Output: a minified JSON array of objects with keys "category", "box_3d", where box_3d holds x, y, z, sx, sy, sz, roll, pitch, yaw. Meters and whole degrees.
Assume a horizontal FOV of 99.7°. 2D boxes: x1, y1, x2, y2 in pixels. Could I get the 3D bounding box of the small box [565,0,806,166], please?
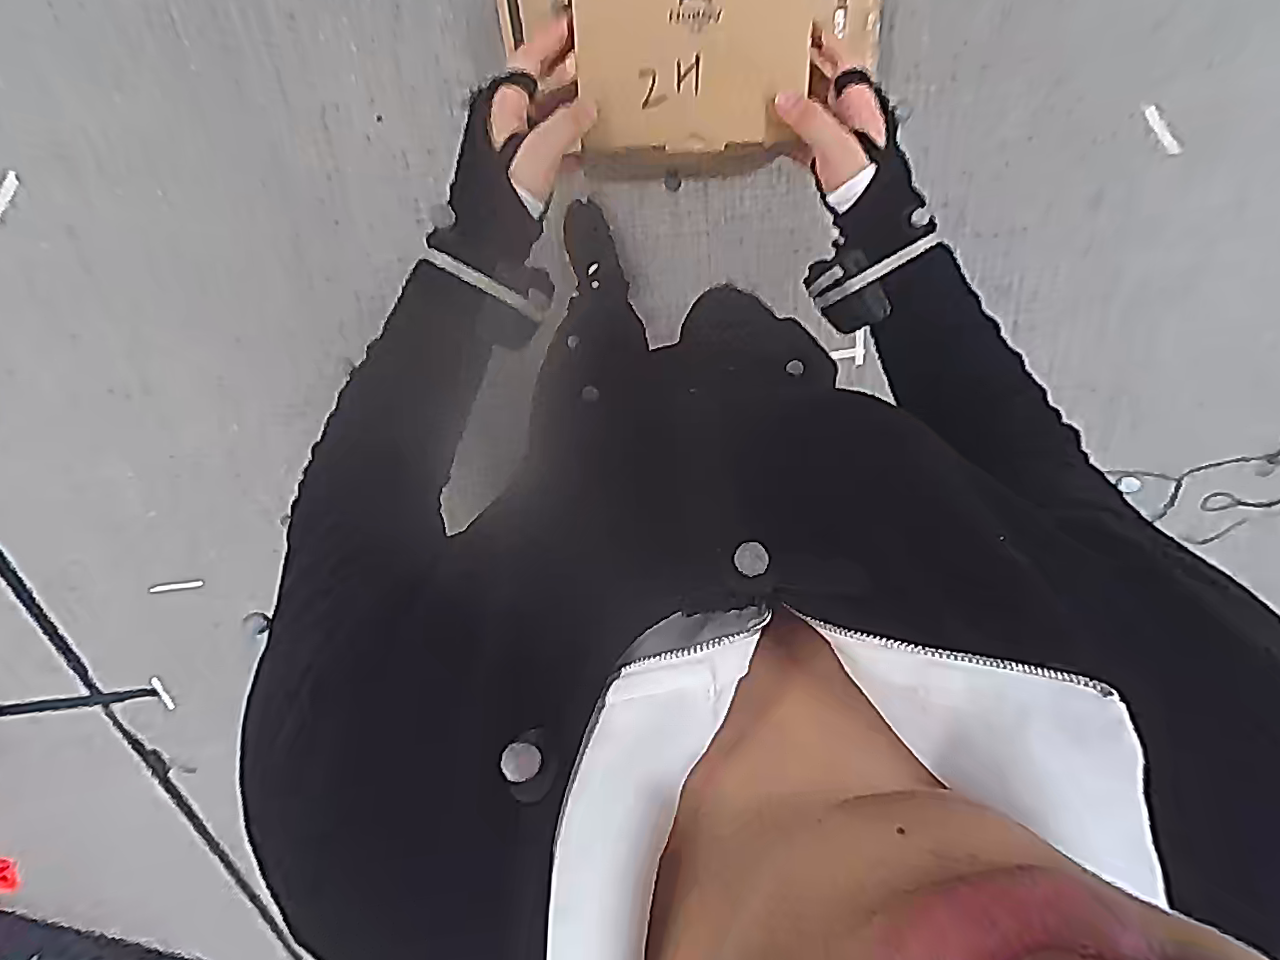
[{"category":"small box","box_3d":[0.024,-0.364,0.431,0.168,0.176,0.179,-4,113,-4]}]
